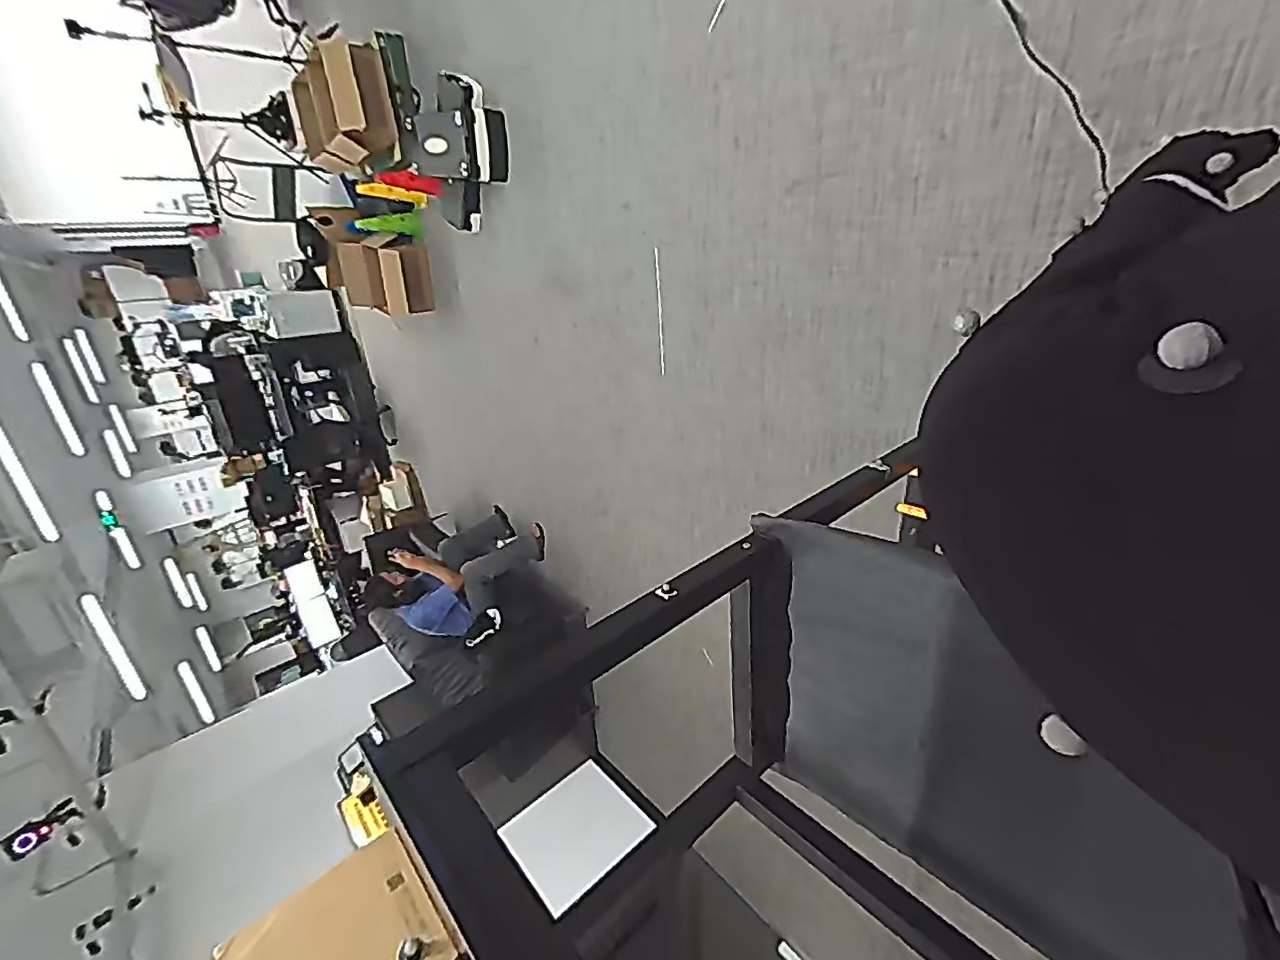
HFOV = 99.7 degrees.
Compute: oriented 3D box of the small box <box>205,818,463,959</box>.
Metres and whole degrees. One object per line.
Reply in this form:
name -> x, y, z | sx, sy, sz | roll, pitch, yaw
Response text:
small box -> -0.276, 0.483, 0.523 | 0.168, 0.176, 0.179 | 23, 126, 43
